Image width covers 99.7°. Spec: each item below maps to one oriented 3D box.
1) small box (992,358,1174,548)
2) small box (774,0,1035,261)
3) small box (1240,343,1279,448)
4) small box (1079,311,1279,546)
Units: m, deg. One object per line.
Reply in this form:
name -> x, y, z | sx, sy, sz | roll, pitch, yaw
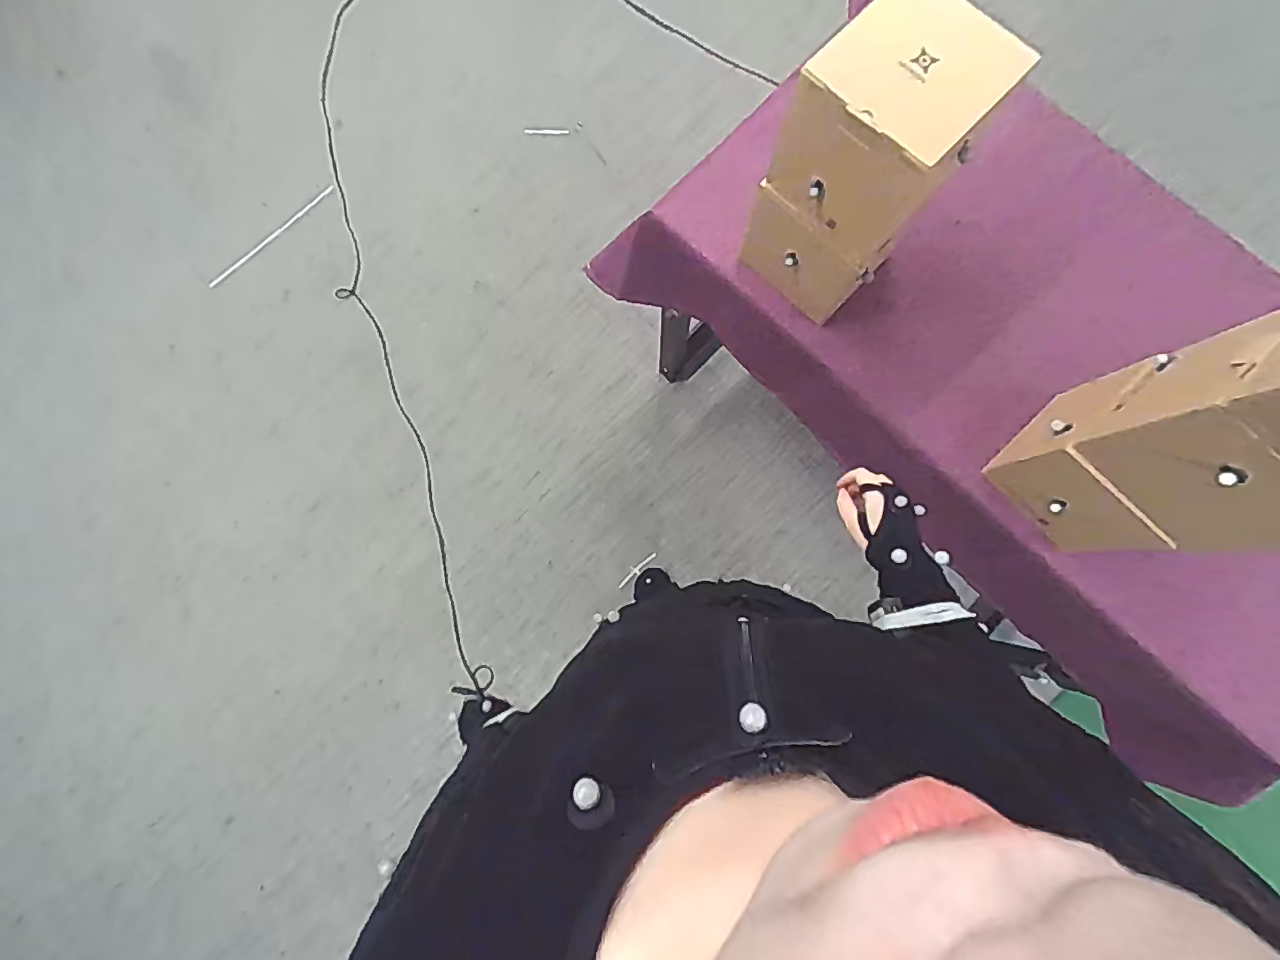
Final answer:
small box -> 0.619, -0.022, 0.723 | 0.179, 0.176, 0.168 | -42, 83, -6
small box -> 0.280, -0.397, 0.618 | 0.168, 0.176, 0.179 | 44, 85, 7
small box -> 0.628, -0.076, 0.398 | 0.179, 0.176, 0.168 | -42, 83, -5
small box -> 0.625, -0.044, 0.560 | 0.168, 0.176, 0.179 | -42, 84, -5
